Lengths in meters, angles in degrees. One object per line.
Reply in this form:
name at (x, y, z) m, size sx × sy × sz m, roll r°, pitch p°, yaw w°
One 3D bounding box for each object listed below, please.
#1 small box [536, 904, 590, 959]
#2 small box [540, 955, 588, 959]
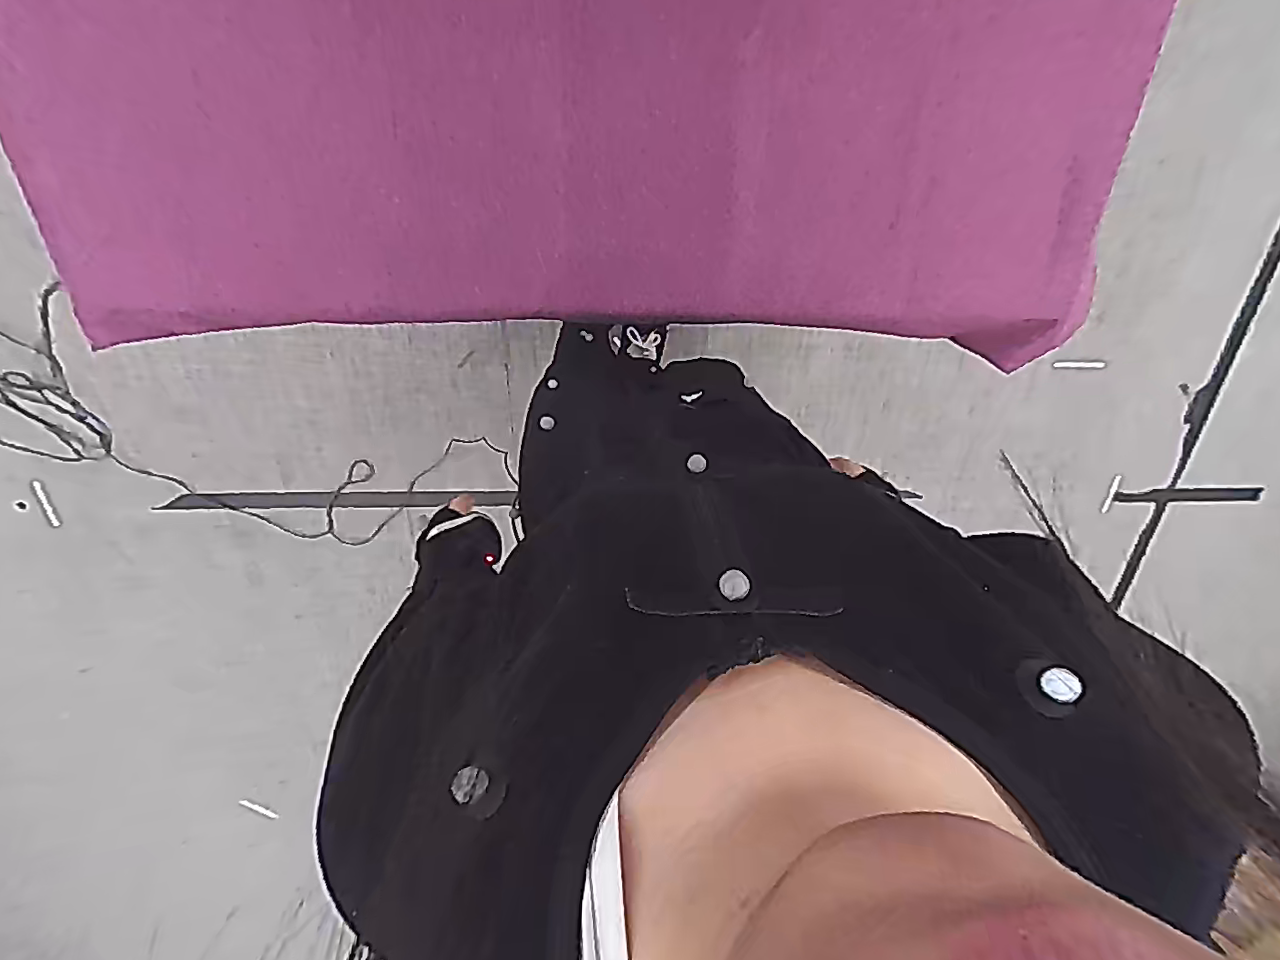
small box at (-0.265, 1.627, 1.899) m, size 0.179 × 0.176 × 0.168 m, roll -2°, pitch 114°, yaw -3°
small box at (-0.248, 1.687, 1.749) m, size 0.168 × 0.176 × 0.179 m, roll -1°, pitch 114°, yaw -4°
